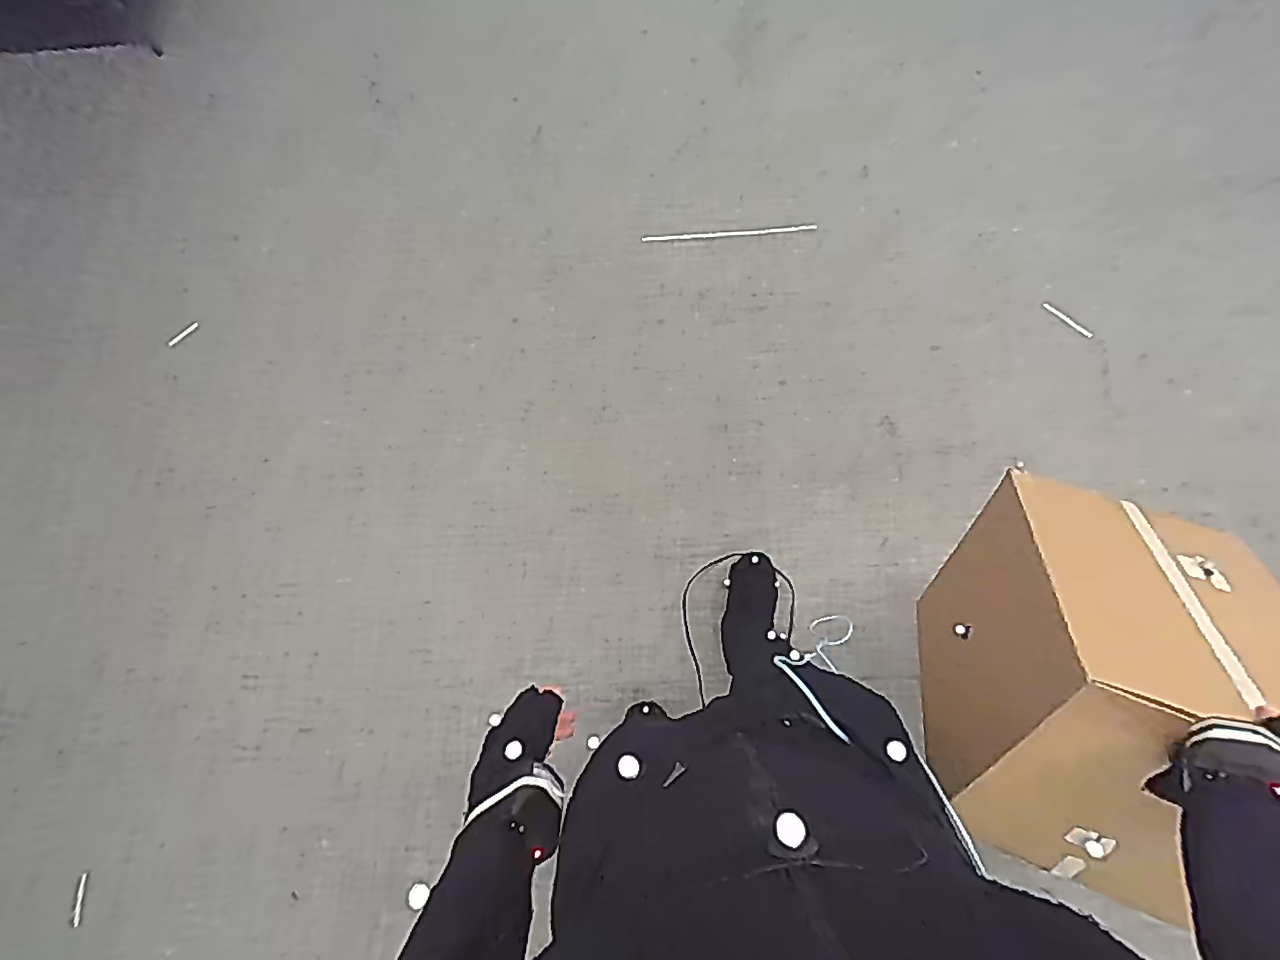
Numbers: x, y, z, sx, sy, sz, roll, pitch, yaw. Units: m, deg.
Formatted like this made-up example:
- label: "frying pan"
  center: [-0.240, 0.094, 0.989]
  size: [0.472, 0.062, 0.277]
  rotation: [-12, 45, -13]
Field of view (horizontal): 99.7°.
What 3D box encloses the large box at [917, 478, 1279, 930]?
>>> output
- label: "large box"
  center: [0.605, 0.264, 0.725]
  size: [0.320, 0.320, 0.408]
  rotation: [20, 37, 10]
